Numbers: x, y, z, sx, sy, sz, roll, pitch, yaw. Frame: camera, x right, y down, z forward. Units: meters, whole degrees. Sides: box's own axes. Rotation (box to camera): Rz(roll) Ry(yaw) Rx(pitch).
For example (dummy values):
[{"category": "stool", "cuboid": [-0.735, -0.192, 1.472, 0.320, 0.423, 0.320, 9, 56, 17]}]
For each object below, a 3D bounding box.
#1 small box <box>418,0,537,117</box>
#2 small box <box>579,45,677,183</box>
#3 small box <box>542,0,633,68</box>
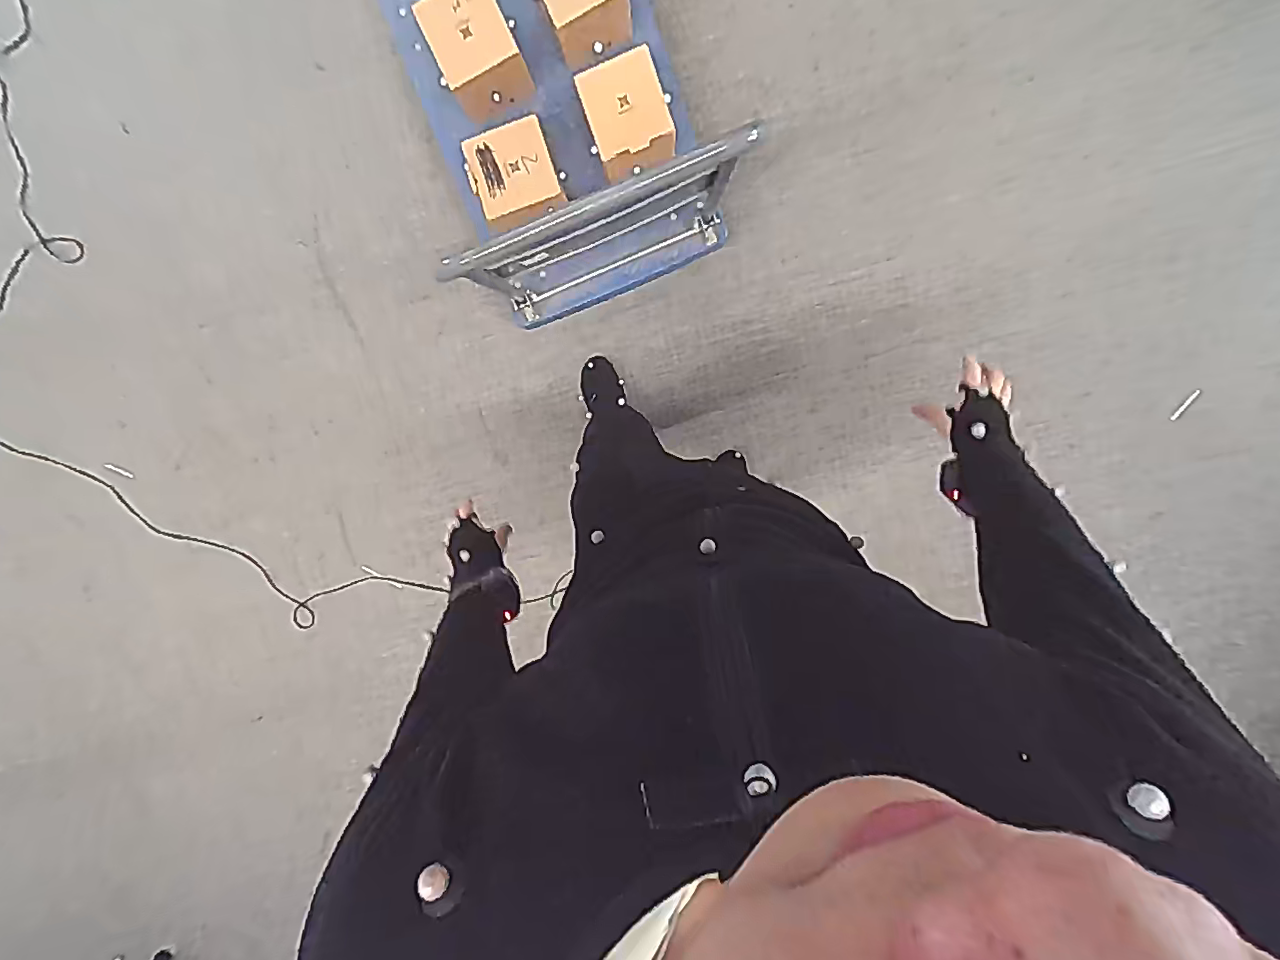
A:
[{"category": "small box", "cuboid": [-0.351, -0.953, 1.207, 0.168, 0.176, 0.179, -25, 99, 6]}, {"category": "small box", "cuboid": [-0.024, -0.812, 1.219, 0.168, 0.176, 0.179, -20, 100, 6]}, {"category": "small box", "cuboid": [-0.125, -1.059, 1.175, 0.168, 0.176, 0.179, -24, 100, 8]}]
